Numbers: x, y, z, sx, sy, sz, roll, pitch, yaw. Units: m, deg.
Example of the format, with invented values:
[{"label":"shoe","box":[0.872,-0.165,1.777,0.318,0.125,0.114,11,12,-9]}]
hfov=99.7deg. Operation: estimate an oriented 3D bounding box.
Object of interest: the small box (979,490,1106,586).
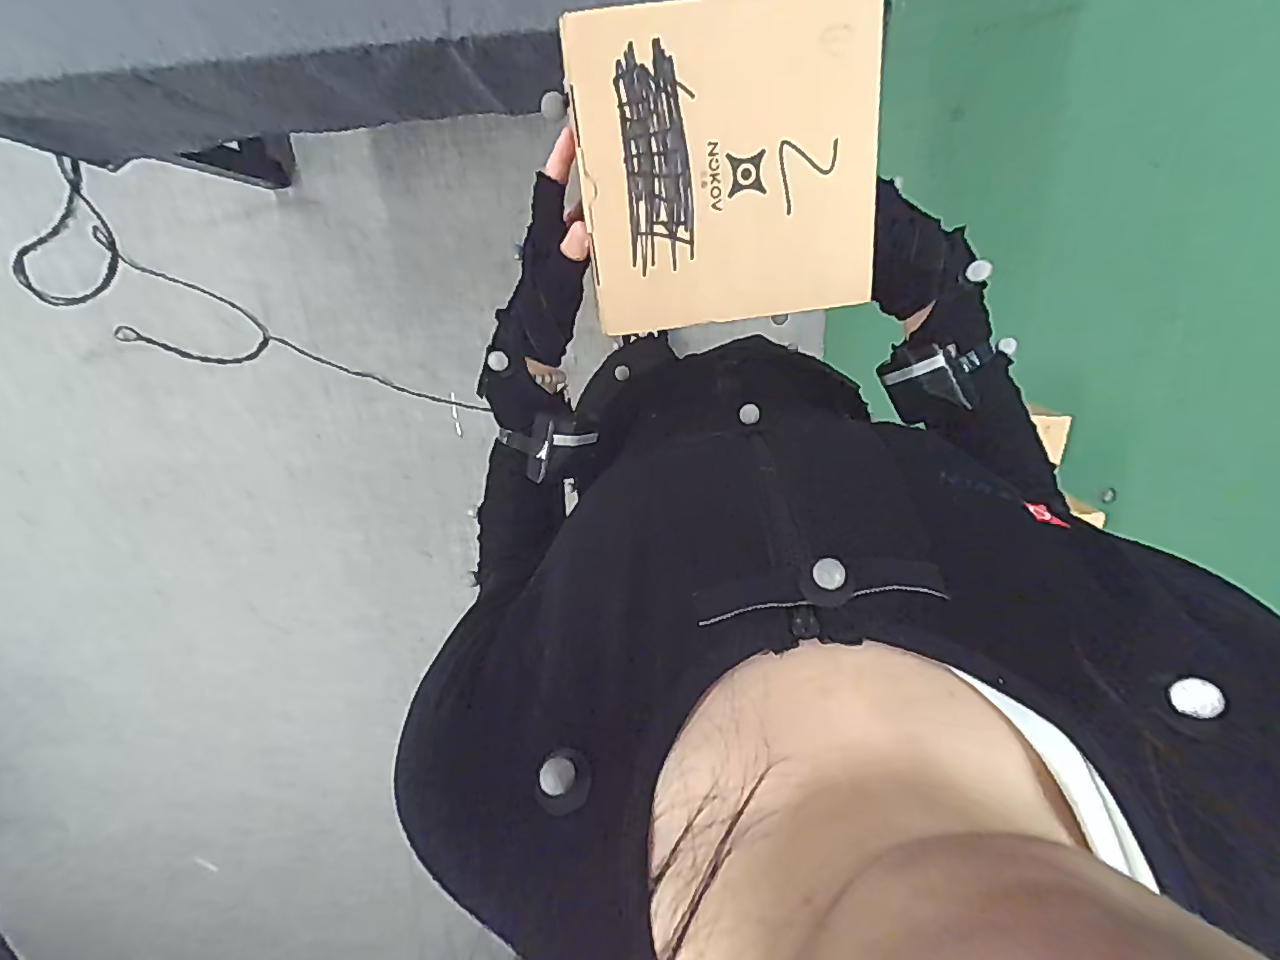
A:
[{"label":"small box","box":[0.958,0.136,1.308,0.168,0.176,0.179,2,108,1]}]
